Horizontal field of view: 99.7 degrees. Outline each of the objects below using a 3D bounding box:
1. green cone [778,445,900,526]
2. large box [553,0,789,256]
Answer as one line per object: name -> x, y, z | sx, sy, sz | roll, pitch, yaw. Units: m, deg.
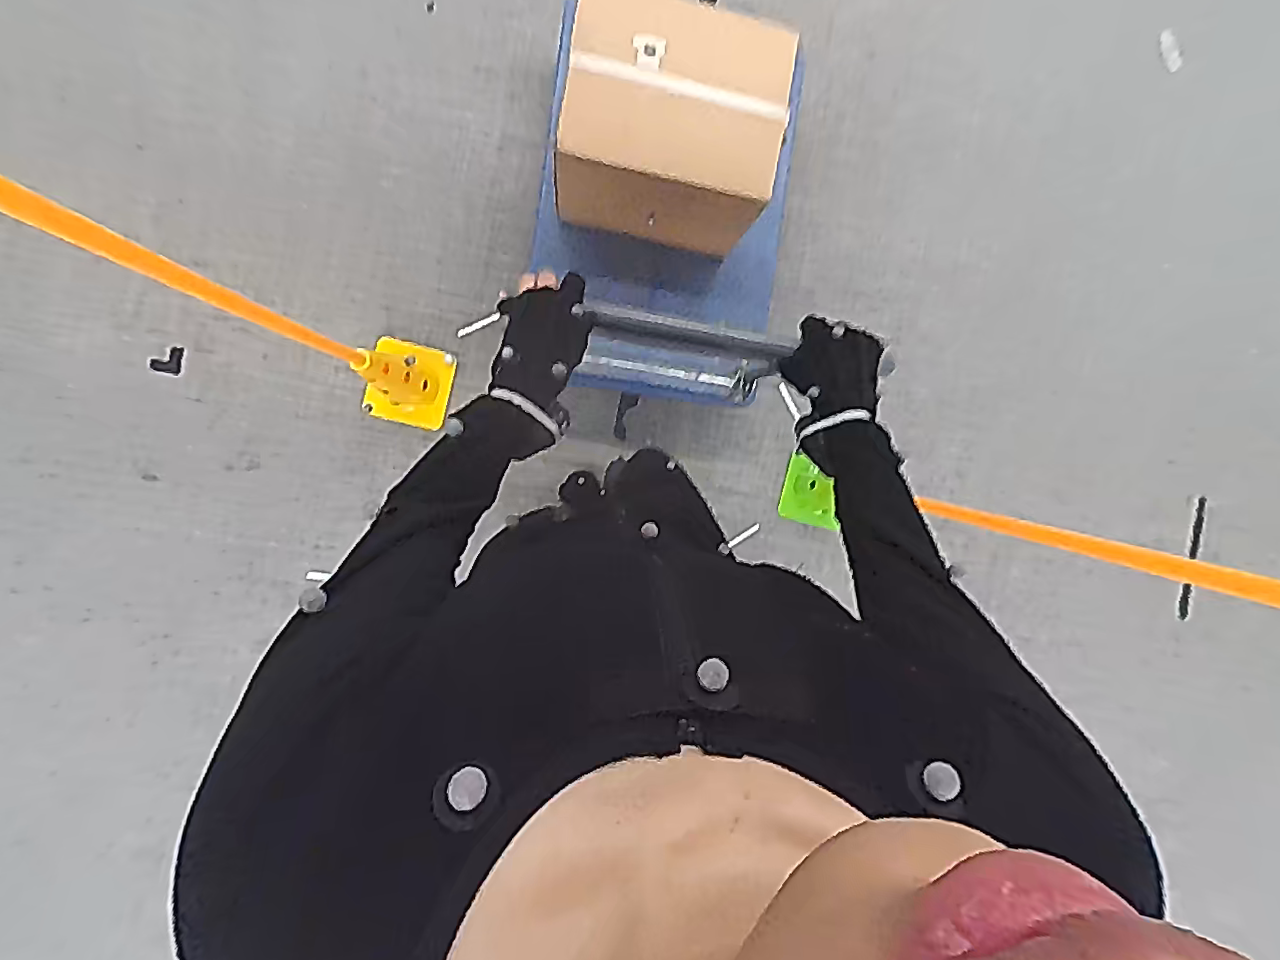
green cone -> 0.524, 0.024, 1.365 | 0.202, 0.368, 0.200 | 14, 90, -9
large box -> 0.046, -0.706, 1.133 | 0.408, 0.320, 0.320 | 10, 92, -7
